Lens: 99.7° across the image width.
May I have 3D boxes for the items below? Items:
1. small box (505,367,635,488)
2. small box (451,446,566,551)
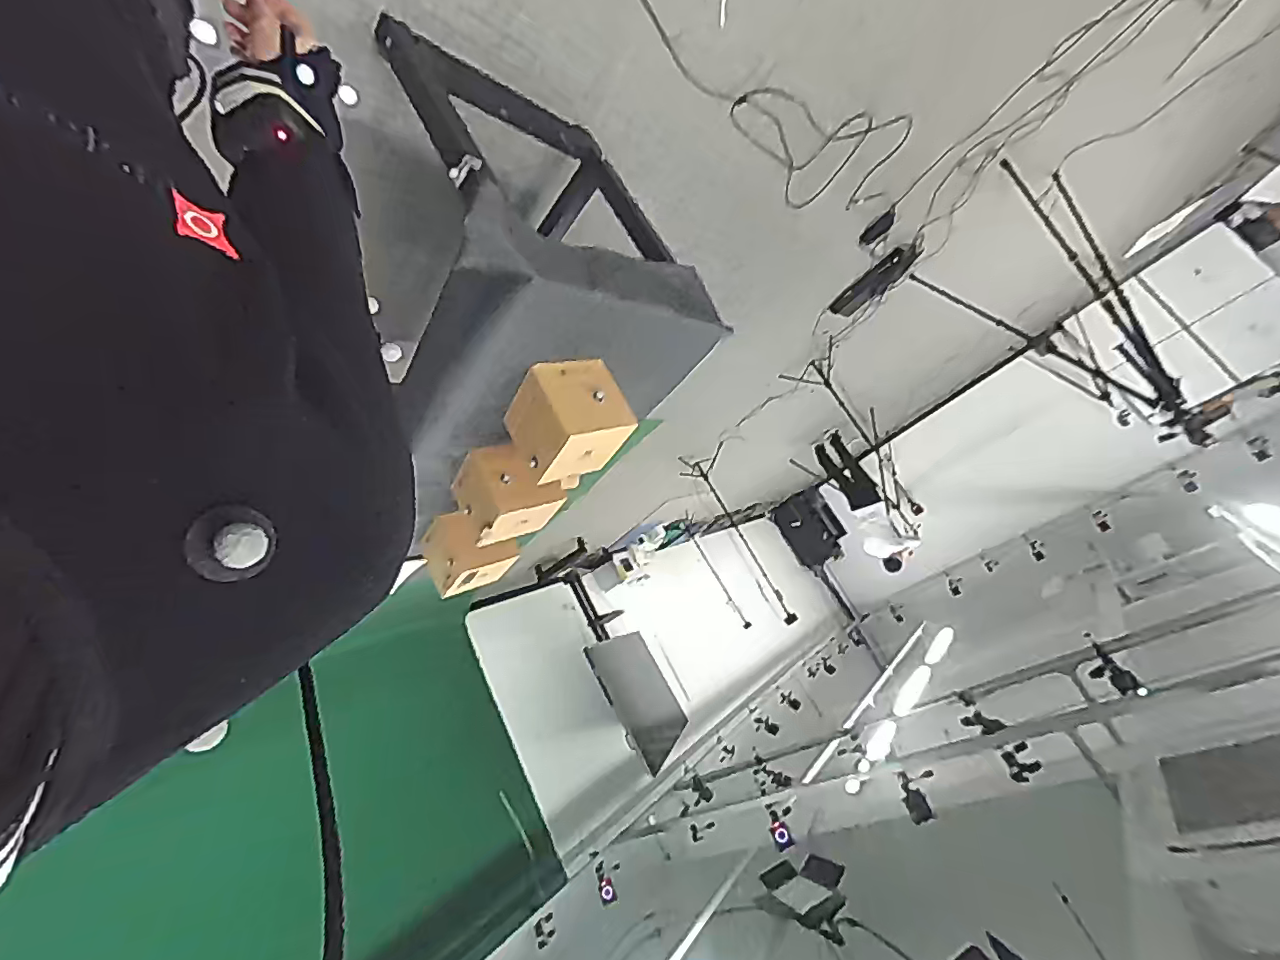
[{"bbox_3d":[-0.146,-0.112,1.078,0.168,0.176,0.179,-16,159,-40],"label":"small box"},{"bbox_3d":[-0.308,0.034,1.241,0.179,0.176,0.168,-16,160,-42],"label":"small box"}]
